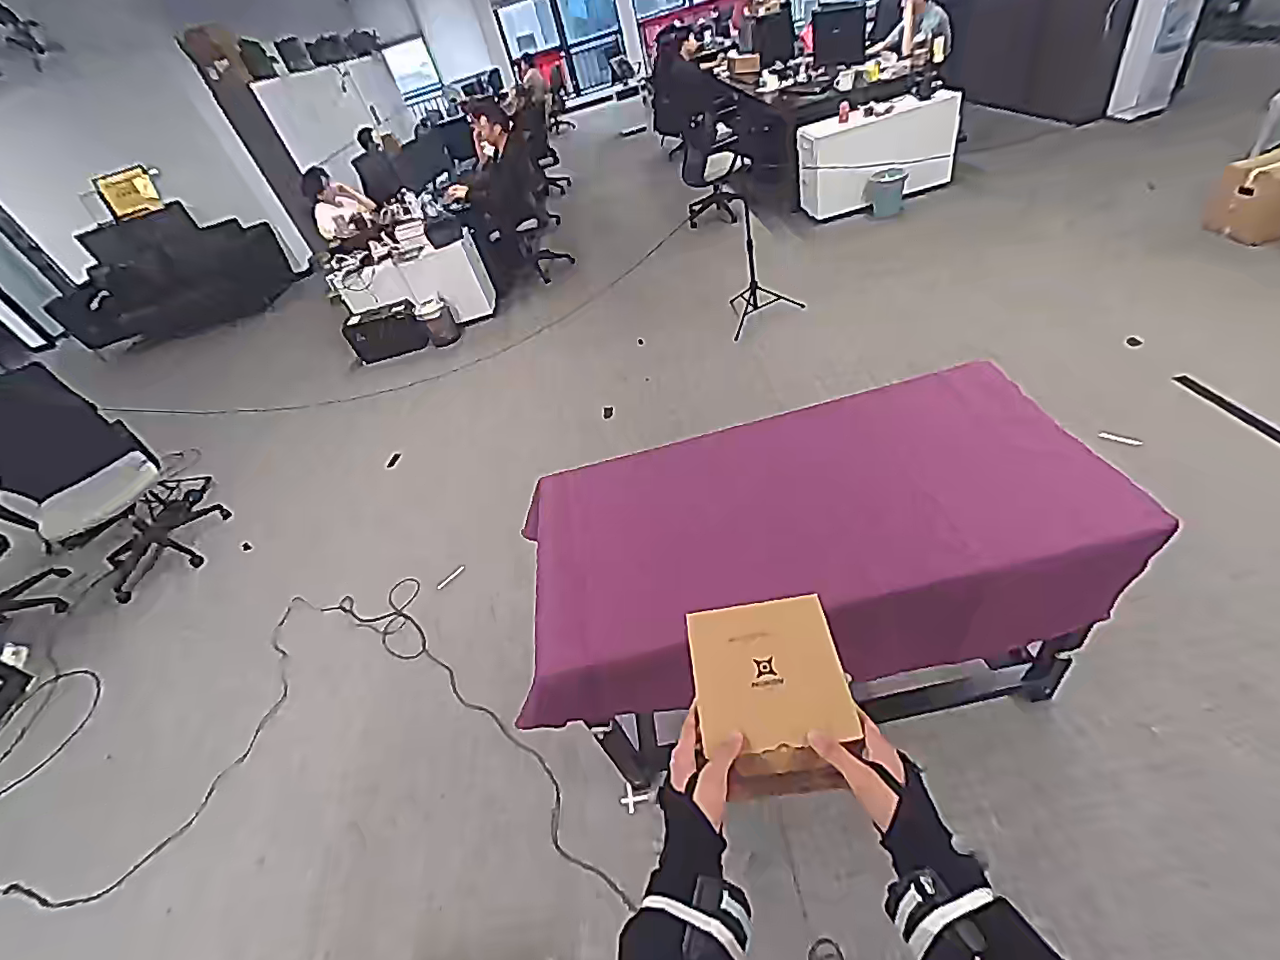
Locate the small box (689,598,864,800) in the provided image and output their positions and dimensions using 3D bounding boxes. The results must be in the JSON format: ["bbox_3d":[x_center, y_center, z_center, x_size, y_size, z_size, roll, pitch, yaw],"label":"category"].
[{"bbox_3d":[0.160,0.273,0.661,0.168,0.176,0.179,-10,44,6],"label":"small box"}]
